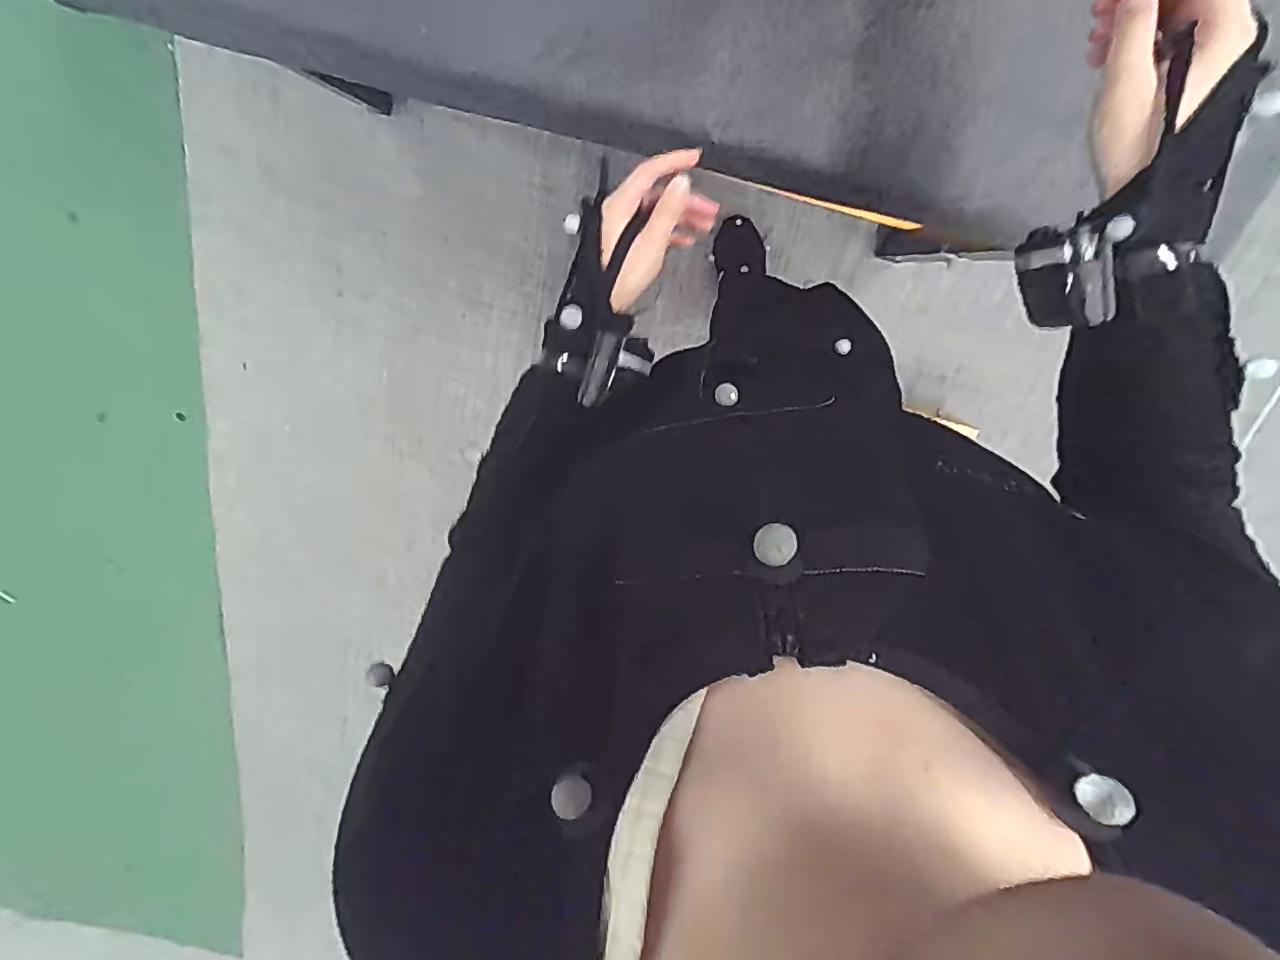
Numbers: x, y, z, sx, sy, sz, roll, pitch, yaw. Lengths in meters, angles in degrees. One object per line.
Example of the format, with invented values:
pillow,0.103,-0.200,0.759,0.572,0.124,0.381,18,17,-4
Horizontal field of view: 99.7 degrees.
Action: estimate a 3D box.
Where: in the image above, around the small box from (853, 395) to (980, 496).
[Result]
small box,0.620,-0.085,1.238,0.179,0.176,0.168,15,110,-2
